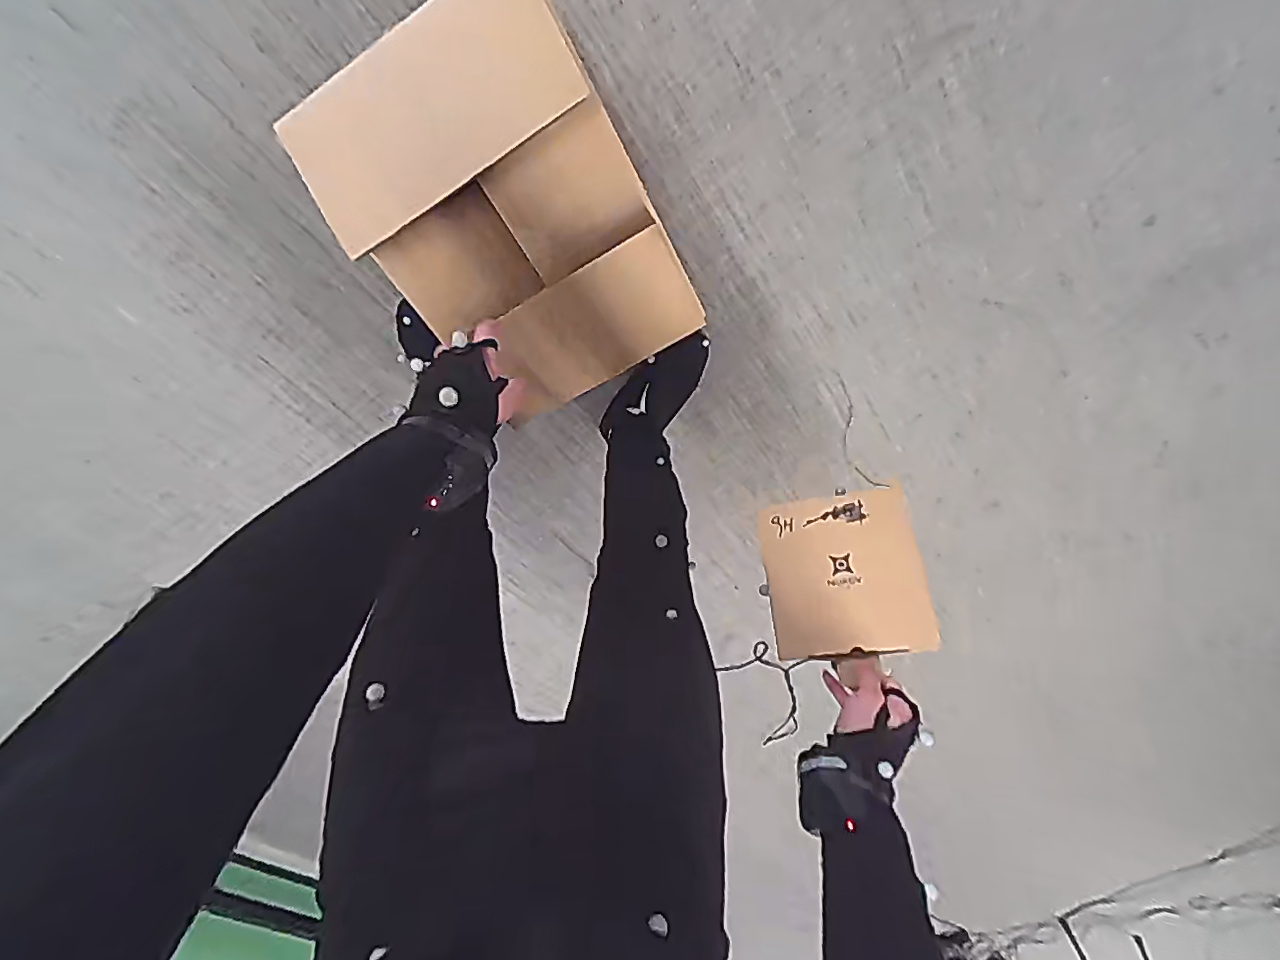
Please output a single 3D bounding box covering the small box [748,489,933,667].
[{"bbox_3d":[0.242,0.128,0.675,0.168,0.179,0.176,-13,160,14],"label":"small box"}]
